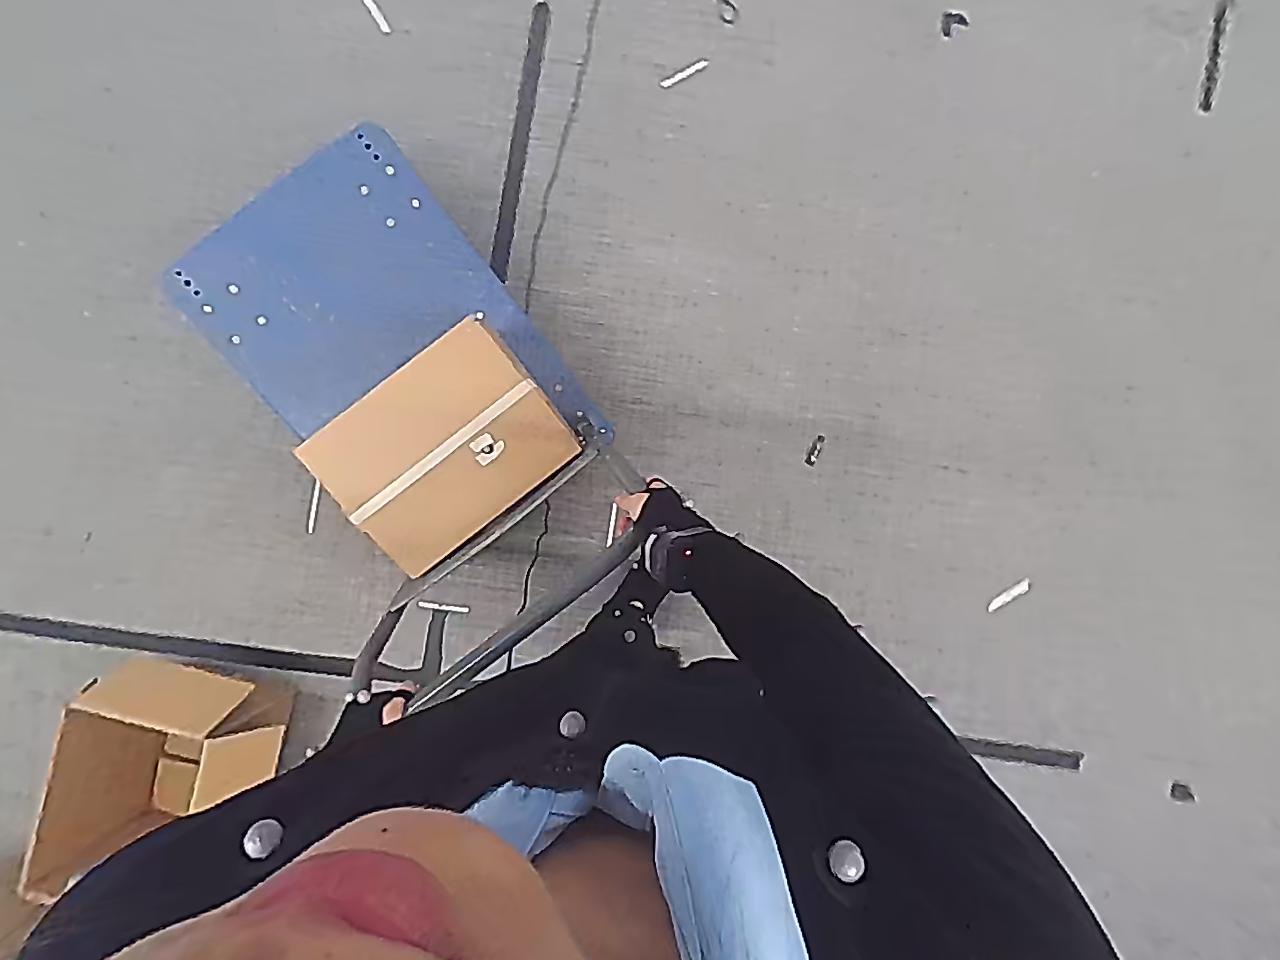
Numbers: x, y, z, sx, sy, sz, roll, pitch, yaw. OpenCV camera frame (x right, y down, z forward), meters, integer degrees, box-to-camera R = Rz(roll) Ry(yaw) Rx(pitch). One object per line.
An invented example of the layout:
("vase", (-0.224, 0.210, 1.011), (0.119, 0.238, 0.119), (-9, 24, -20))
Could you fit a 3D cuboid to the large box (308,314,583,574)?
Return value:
("large box", (-0.374, -0.079, 1.140), (0.408, 0.320, 0.320), (-39, 103, -2))
